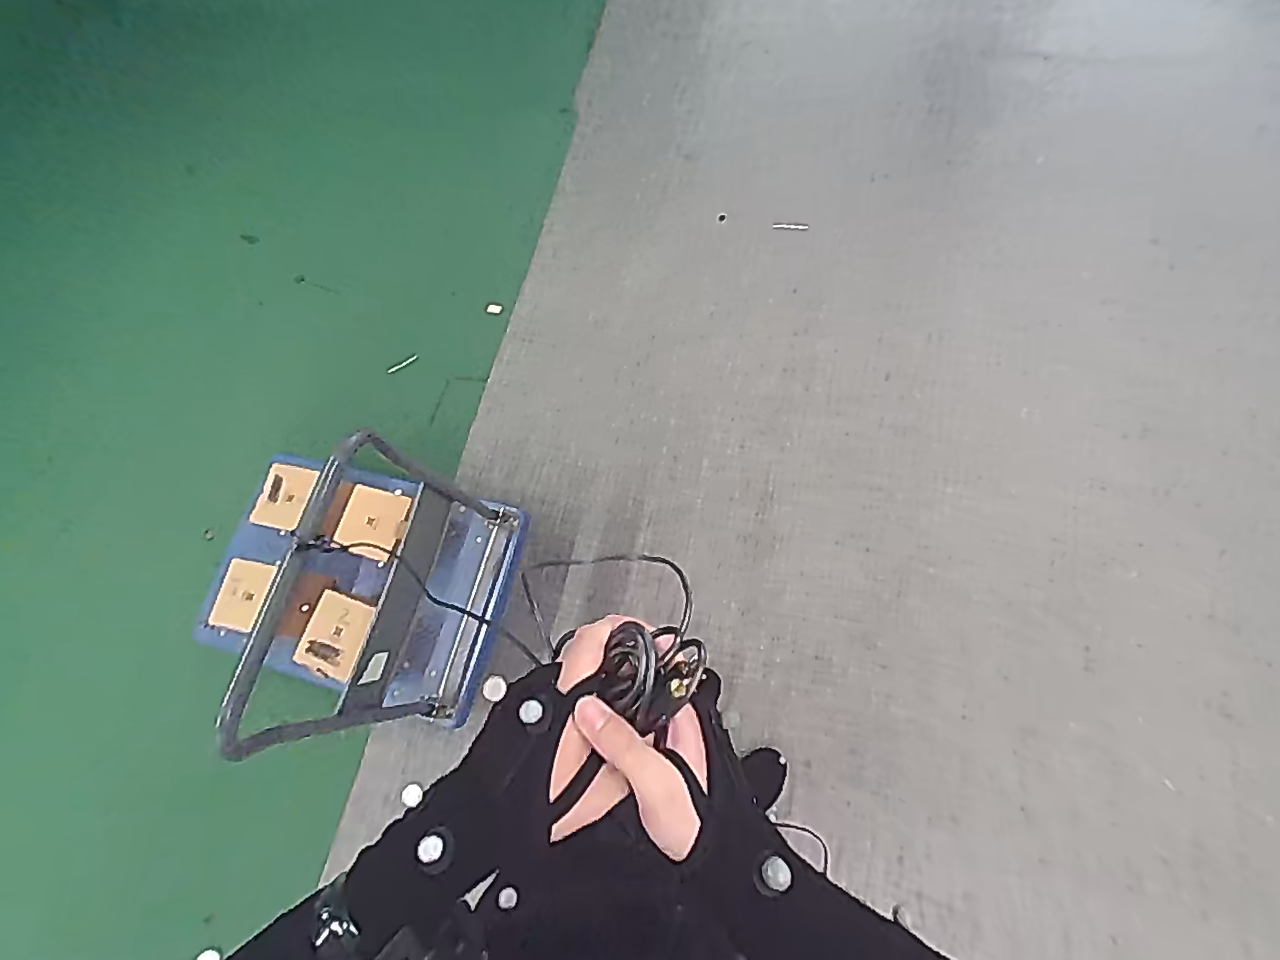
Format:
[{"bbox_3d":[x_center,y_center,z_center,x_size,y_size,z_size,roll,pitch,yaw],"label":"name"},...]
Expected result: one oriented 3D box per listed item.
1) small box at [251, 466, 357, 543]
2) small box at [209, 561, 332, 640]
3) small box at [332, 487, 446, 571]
[{"bbox_3d":[-0.896,0.075,1.477,0.179,0.176,0.168,9,75,13],"label":"small box"},{"bbox_3d":[-0.950,0.317,1.409,0.179,0.176,0.168,8,73,13],"label":"small box"},{"bbox_3d":[-0.647,0.133,1.411,0.179,0.176,0.168,12,75,14],"label":"small box"}]
